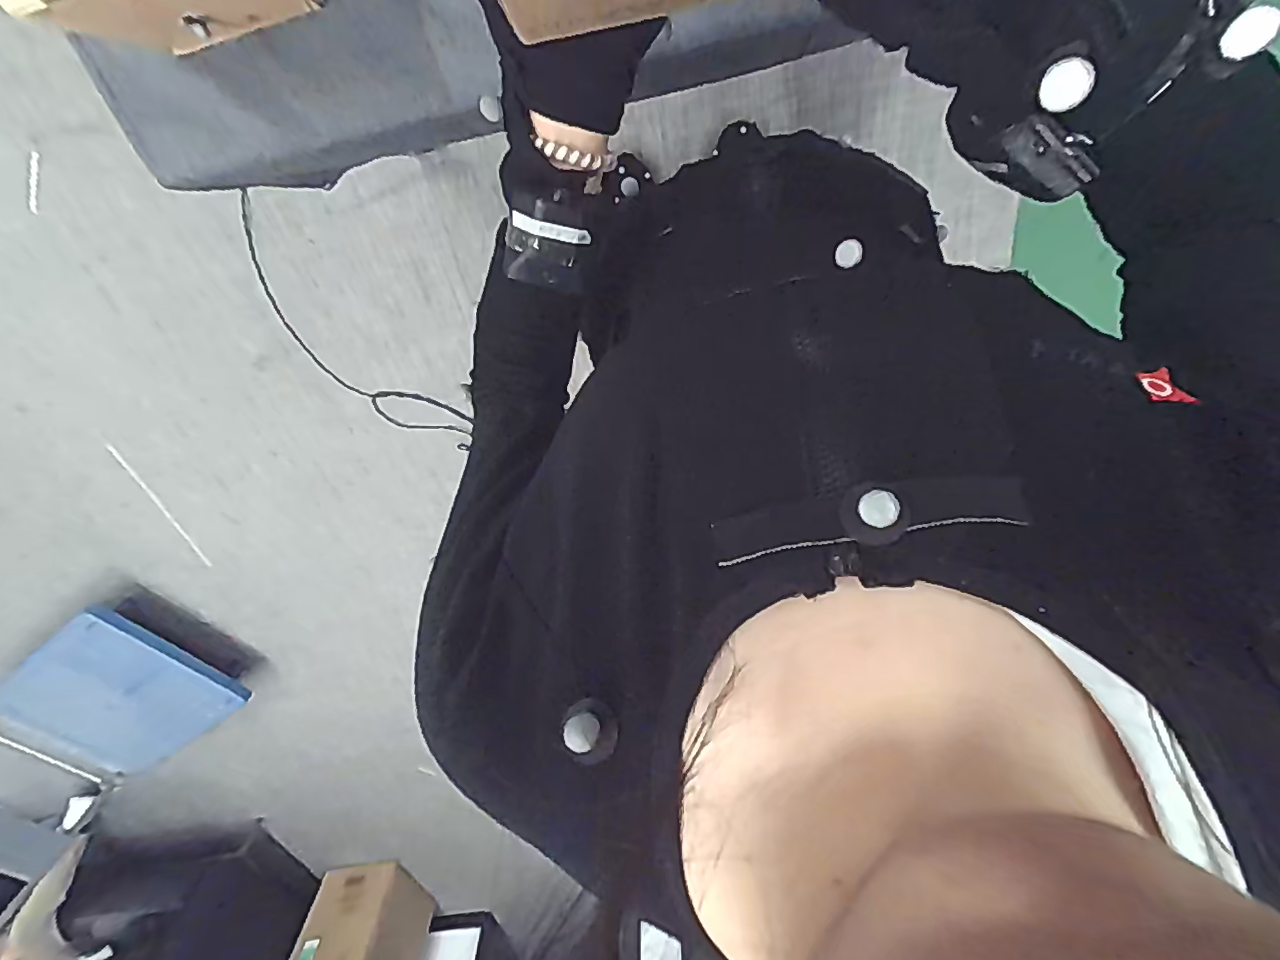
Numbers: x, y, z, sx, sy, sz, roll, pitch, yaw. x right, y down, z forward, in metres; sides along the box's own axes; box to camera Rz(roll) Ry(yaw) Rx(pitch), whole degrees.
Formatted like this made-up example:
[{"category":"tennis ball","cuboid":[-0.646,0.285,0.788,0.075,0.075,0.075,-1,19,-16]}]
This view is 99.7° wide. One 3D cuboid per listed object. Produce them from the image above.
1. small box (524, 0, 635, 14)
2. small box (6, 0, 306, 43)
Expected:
[{"category":"small box","cuboid":[0.006,-0.294,0.184,0.168,0.176,0.179,-10,119,1]},{"category":"small box","cuboid":[-0.399,-0.470,0.406,0.168,0.176,0.179,-12,121,7]}]
